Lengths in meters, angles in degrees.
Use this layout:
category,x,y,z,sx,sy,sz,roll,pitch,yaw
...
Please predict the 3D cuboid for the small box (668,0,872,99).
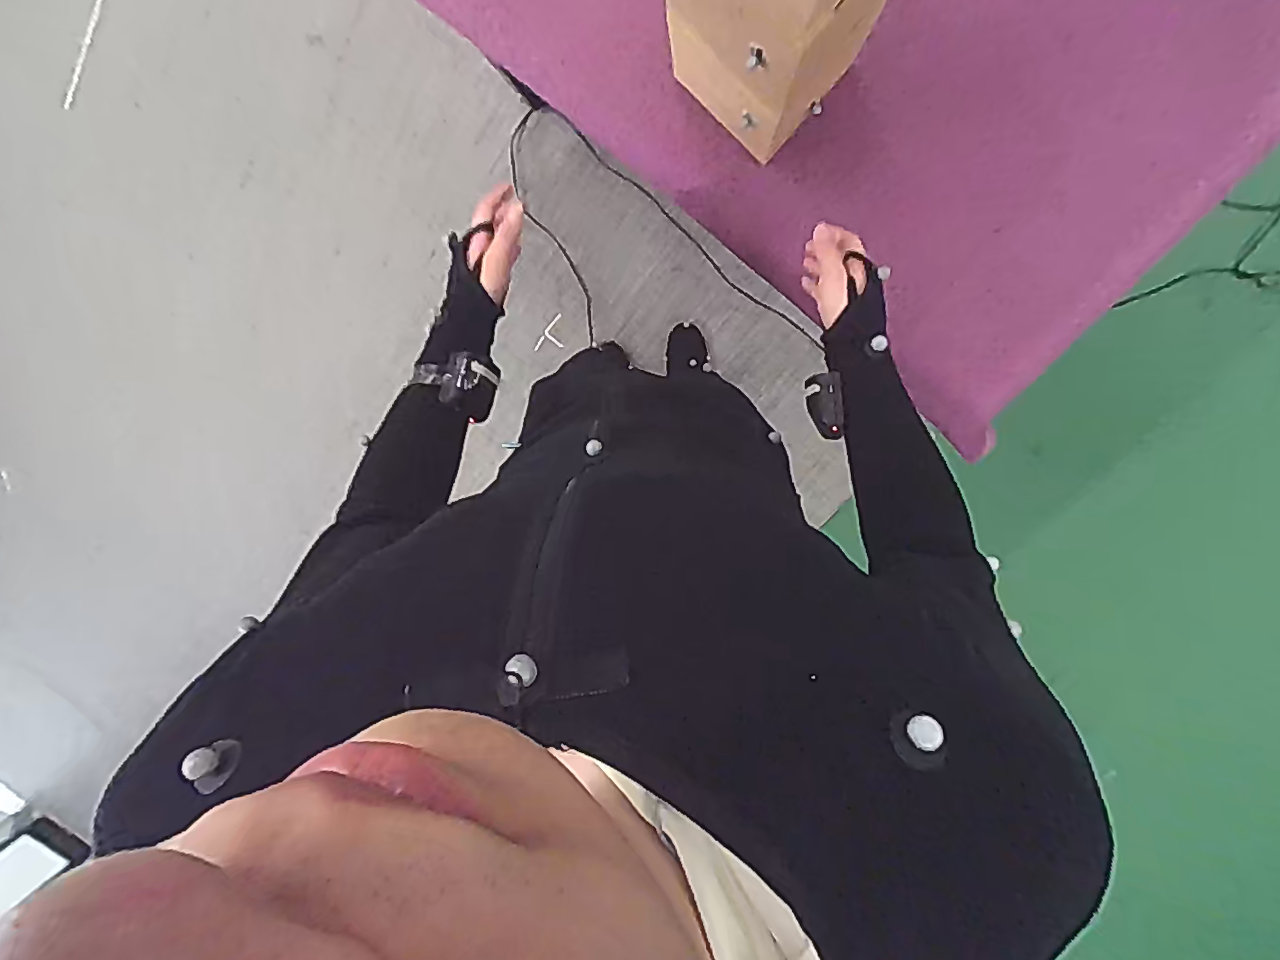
category,x,y,z,sx,sy,sz,roll,pitch,yaw
small box,0.132,-0.494,0.494,0.179,0.176,0.168,42,106,-5
